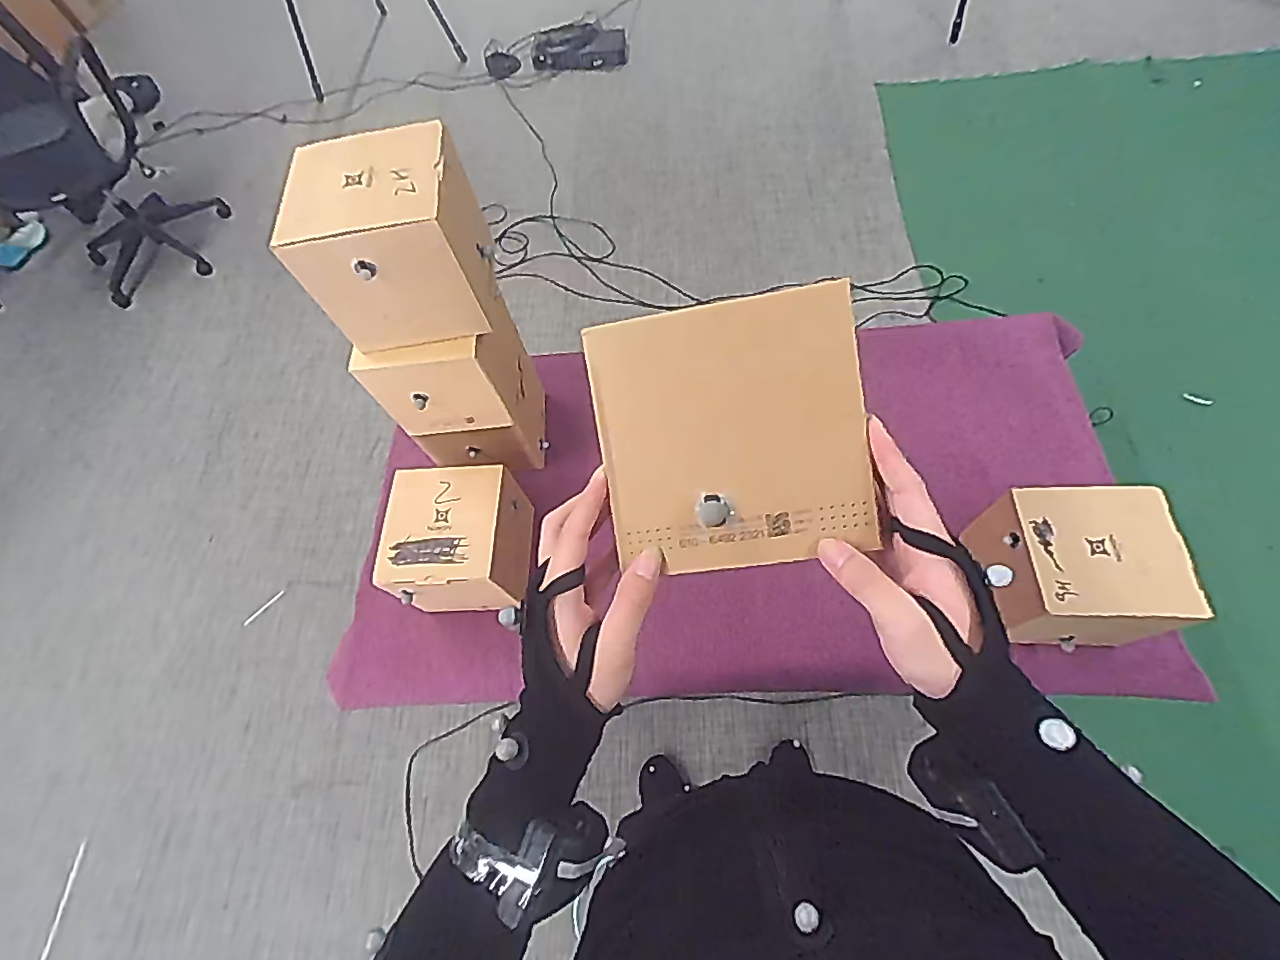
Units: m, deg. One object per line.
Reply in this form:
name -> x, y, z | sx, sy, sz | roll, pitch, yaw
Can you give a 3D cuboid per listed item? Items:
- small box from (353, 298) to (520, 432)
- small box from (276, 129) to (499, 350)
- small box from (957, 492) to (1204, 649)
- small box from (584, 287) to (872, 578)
small box -> -0.279, -0.181, 0.785 | 0.168, 0.176, 0.179 | -5, 63, 3
small box -> -0.284, -0.276, 0.649 | 0.179, 0.176, 0.168 | -8, 64, 2
small box -> 0.563, 0.126, 0.723 | 0.179, 0.176, 0.168 | 0, 62, 7
small box -> 0.066, -0.030, 0.420 | 0.168, 0.179, 0.176 | -9, 94, 8
